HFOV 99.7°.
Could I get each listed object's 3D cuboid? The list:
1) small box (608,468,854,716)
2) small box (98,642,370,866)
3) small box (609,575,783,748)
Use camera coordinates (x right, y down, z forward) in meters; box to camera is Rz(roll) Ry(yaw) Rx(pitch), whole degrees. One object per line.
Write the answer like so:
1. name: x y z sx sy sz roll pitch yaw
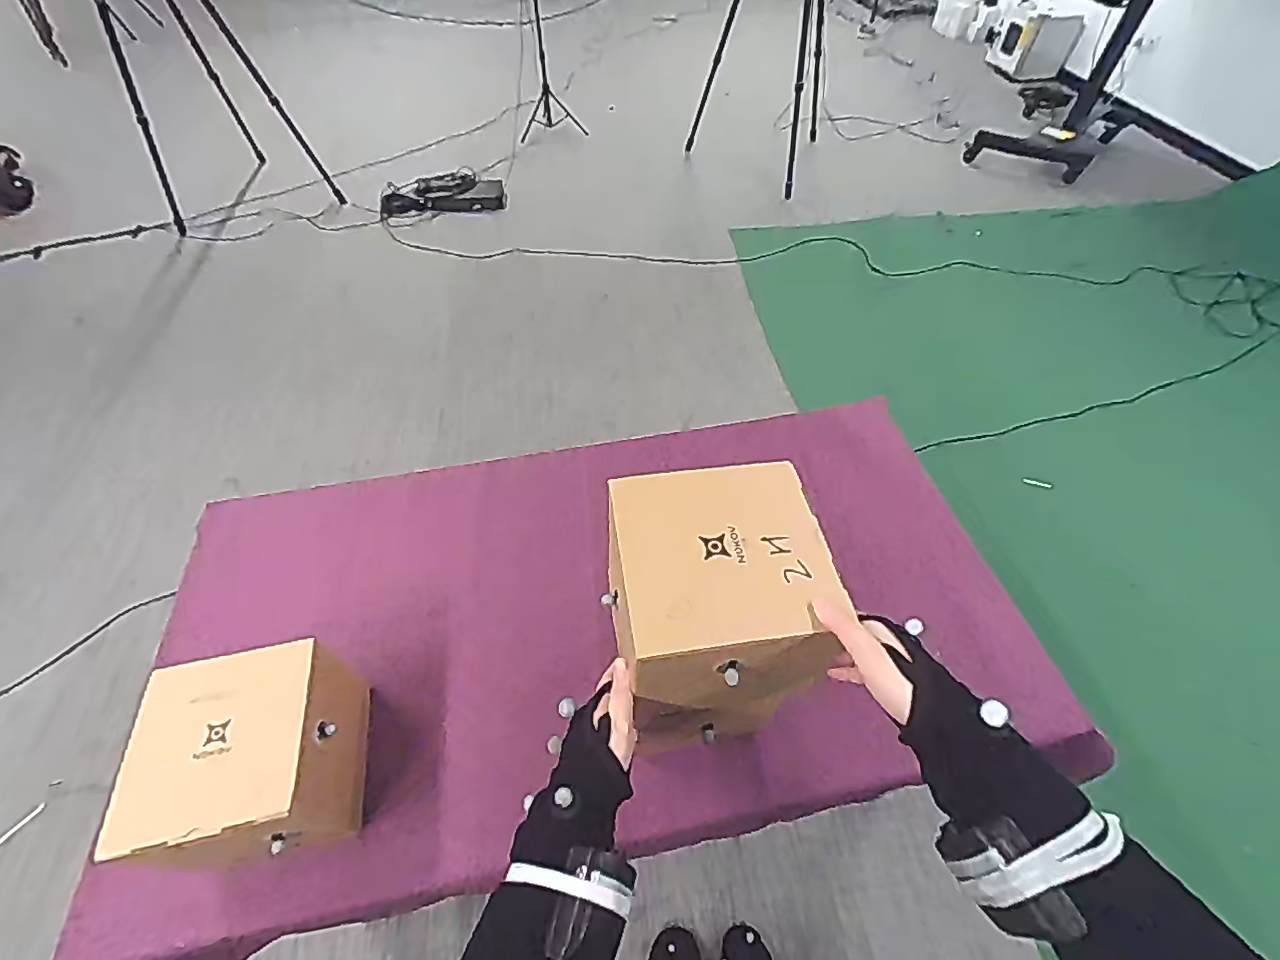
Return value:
1. small box: 0.065 0.110 0.511 0.179 0.176 0.168 -5 53 -8
2. small box: -0.419 0.307 0.600 0.168 0.176 0.179 -9 52 -8
3. small box: 0.058 0.217 0.669 0.168 0.176 0.179 -9 54 -7
